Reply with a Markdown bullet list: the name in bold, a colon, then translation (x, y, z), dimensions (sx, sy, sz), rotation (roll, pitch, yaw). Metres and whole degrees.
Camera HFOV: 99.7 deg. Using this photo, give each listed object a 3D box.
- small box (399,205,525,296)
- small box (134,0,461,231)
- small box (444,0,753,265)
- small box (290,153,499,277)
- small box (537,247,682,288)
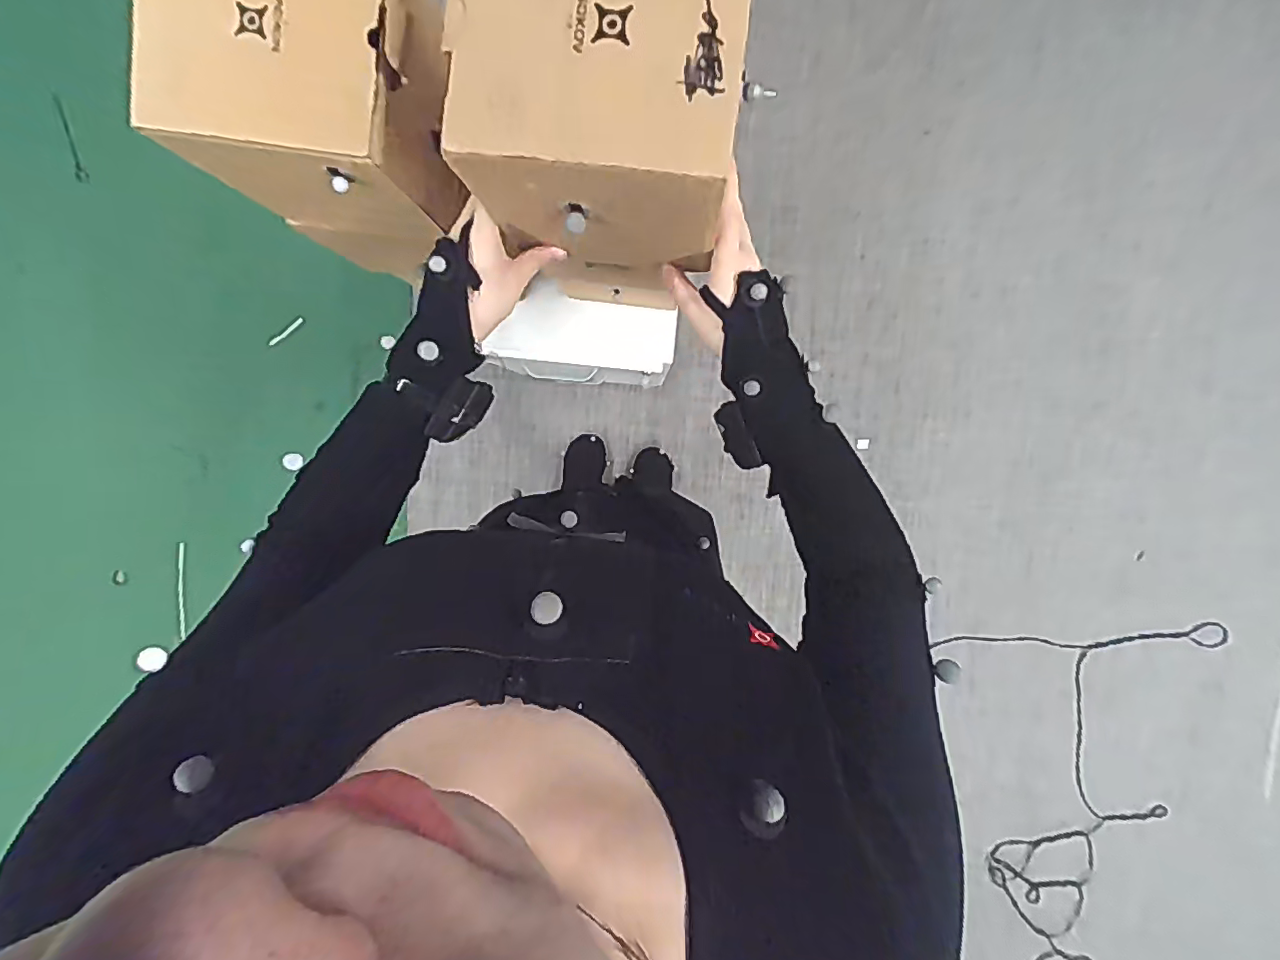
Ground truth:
- **small box**: translation (-0.262, -0.376, 0.781), dimensions (0.168, 0.176, 0.179), rotation (6, 96, -2)
- **small box**: translation (-0.264, -0.331, 0.458), dimensions (0.179, 0.176, 0.168), rotation (7, 96, -2)
- **small box**: translation (-0.017, -0.273, 0.397), dimensions (0.179, 0.176, 0.168), rotation (8, 94, 3)
- **small box**: translation (-0.262, -0.342, 0.621), dimensions (0.179, 0.176, 0.168), rotation (5, 95, 0)
- **small box**: translation (-0.028, -0.330, 0.619), dimensions (0.179, 0.176, 0.168), rotation (8, 96, 1)
